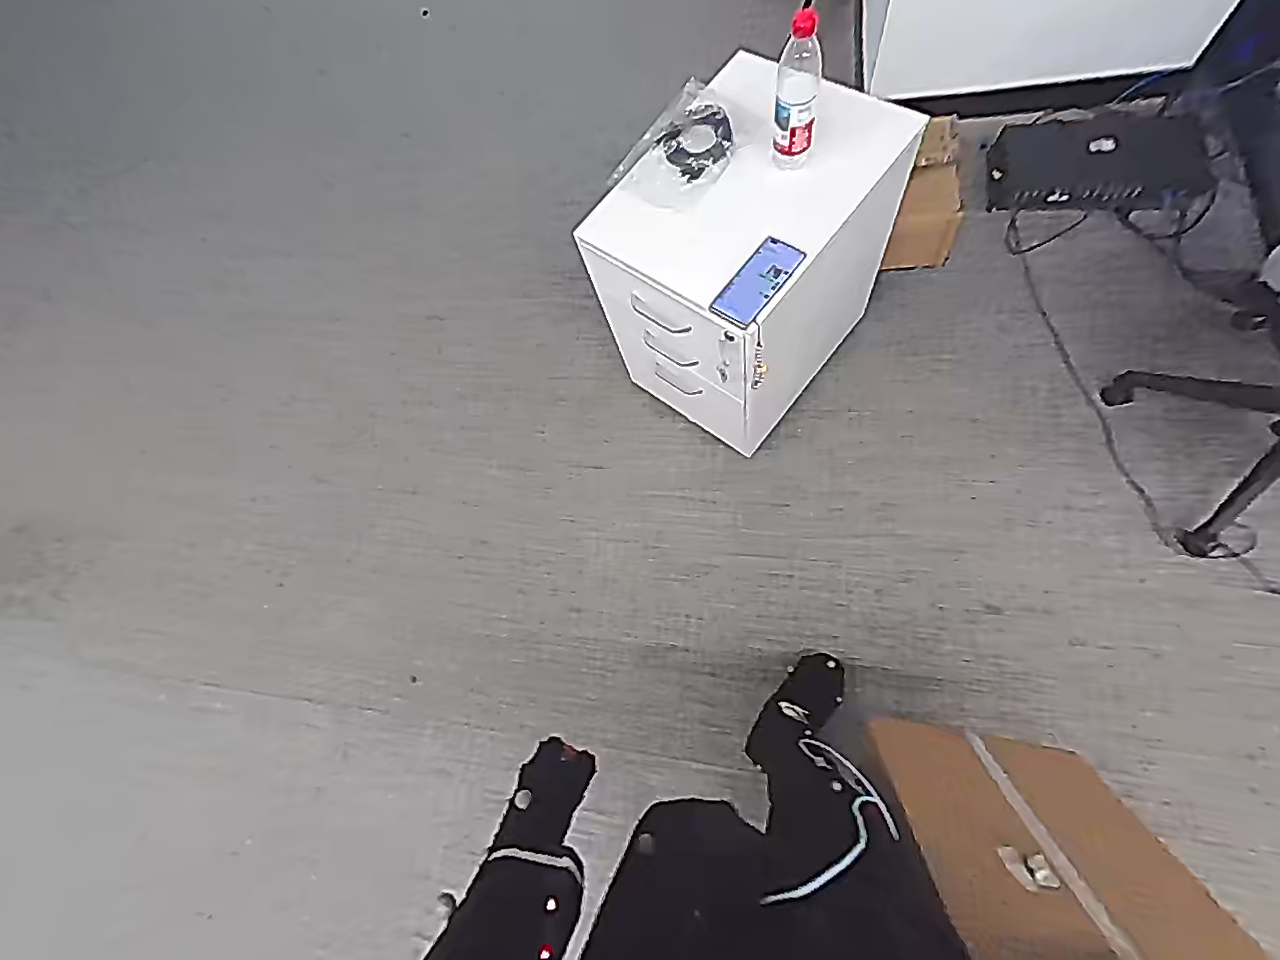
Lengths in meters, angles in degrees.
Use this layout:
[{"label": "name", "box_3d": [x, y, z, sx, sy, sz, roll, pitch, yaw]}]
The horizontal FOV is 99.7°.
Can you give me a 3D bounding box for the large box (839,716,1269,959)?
[{"label": "large box", "box_3d": [0.473, 0.581, 0.691, 0.320, 0.408, 0.320, 6, 100, 9]}]
